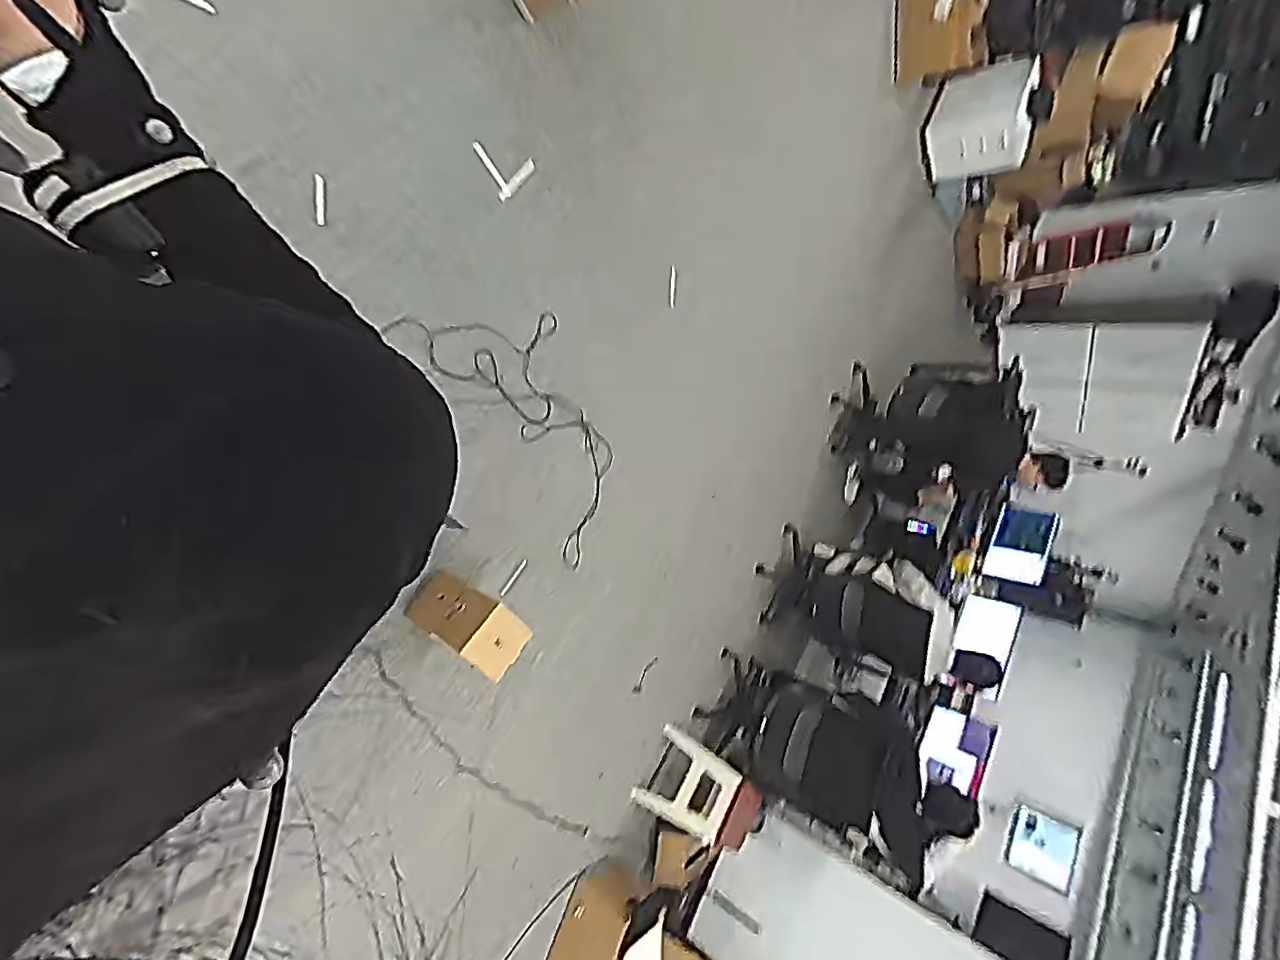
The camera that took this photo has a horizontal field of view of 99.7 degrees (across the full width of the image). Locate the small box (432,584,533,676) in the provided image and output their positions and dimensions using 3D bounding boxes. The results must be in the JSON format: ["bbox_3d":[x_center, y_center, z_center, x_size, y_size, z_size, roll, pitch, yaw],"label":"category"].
[{"bbox_3d":[-0.448,0.421,1.539,0.168,0.176,0.179,-54,133,-25],"label":"small box"}]

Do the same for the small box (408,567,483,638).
[{"bbox_3d":[-0.567,0.389,1.647,0.179,0.176,0.168,-57,135,-22],"label":"small box"}]
